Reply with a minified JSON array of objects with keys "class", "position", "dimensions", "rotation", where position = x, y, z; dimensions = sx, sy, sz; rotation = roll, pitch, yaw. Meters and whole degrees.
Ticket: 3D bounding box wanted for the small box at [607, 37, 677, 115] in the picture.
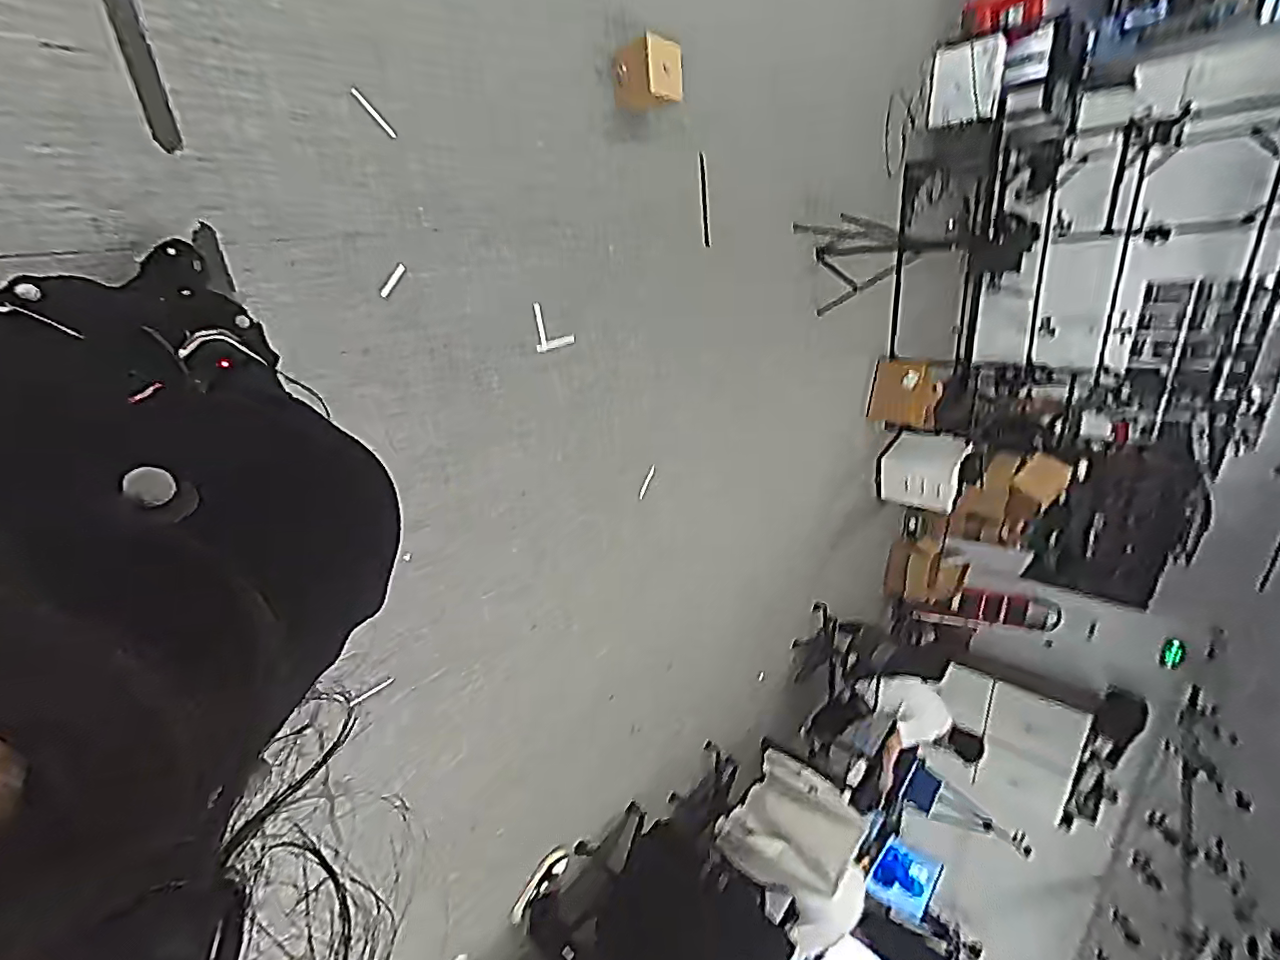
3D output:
[{"class":"small box","position":[0.008,-1.399,1.887],"dimensions":[0.179,0.176,0.168],"rotation":[-24,117,-42]}]
